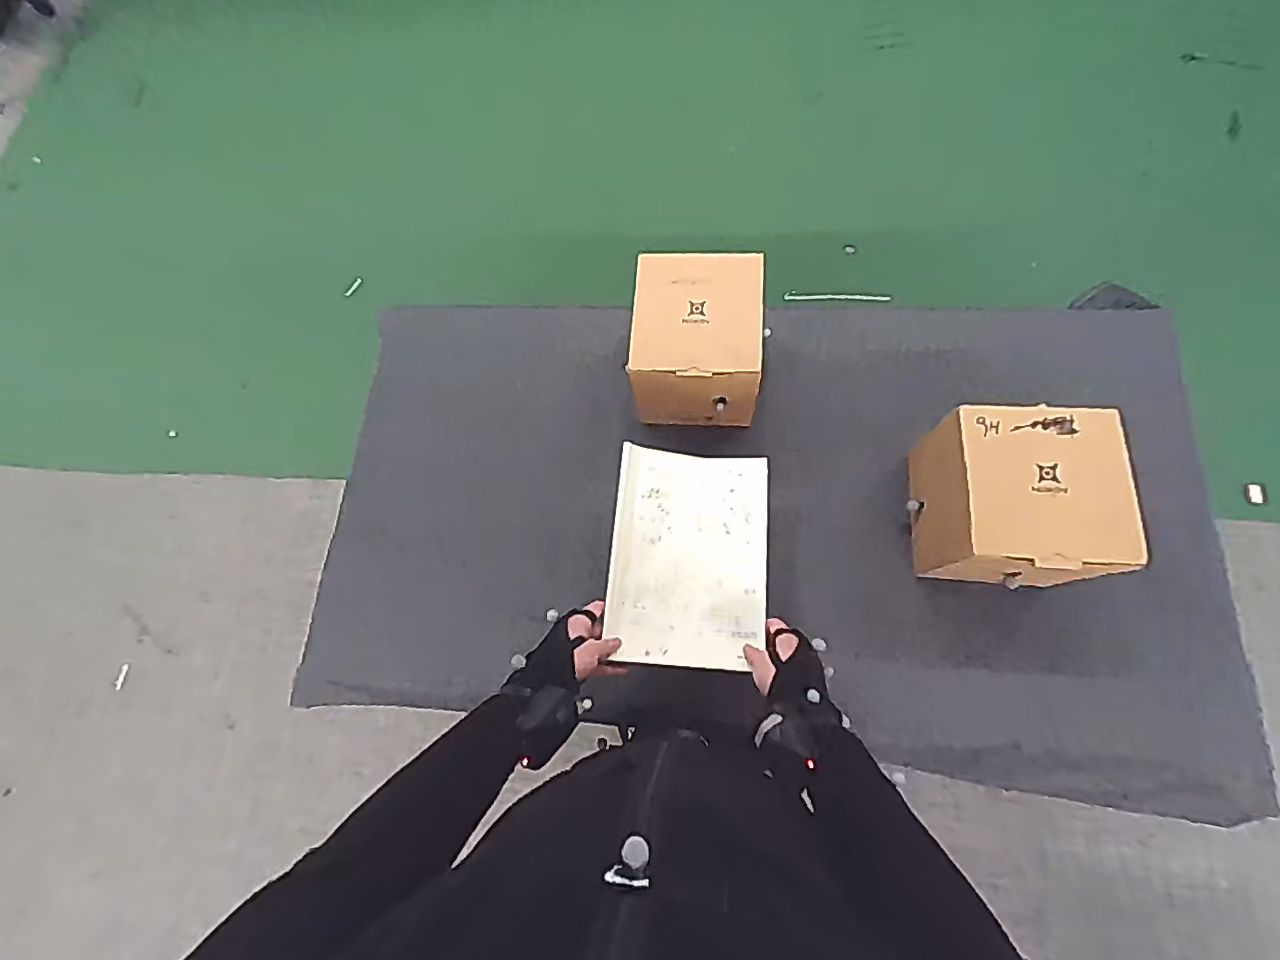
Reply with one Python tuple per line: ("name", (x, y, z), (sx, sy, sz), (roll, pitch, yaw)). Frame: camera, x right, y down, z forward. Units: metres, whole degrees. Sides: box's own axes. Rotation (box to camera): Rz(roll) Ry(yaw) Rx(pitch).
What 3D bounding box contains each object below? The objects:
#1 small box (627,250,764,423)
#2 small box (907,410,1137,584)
("small box", (0.078, -0.188, 0.747), (0.168, 0.176, 0.179), (2, 73, 6))
("small box", (0.441, 0.030, 0.657), (0.168, 0.176, 0.179), (3, 75, 7))
